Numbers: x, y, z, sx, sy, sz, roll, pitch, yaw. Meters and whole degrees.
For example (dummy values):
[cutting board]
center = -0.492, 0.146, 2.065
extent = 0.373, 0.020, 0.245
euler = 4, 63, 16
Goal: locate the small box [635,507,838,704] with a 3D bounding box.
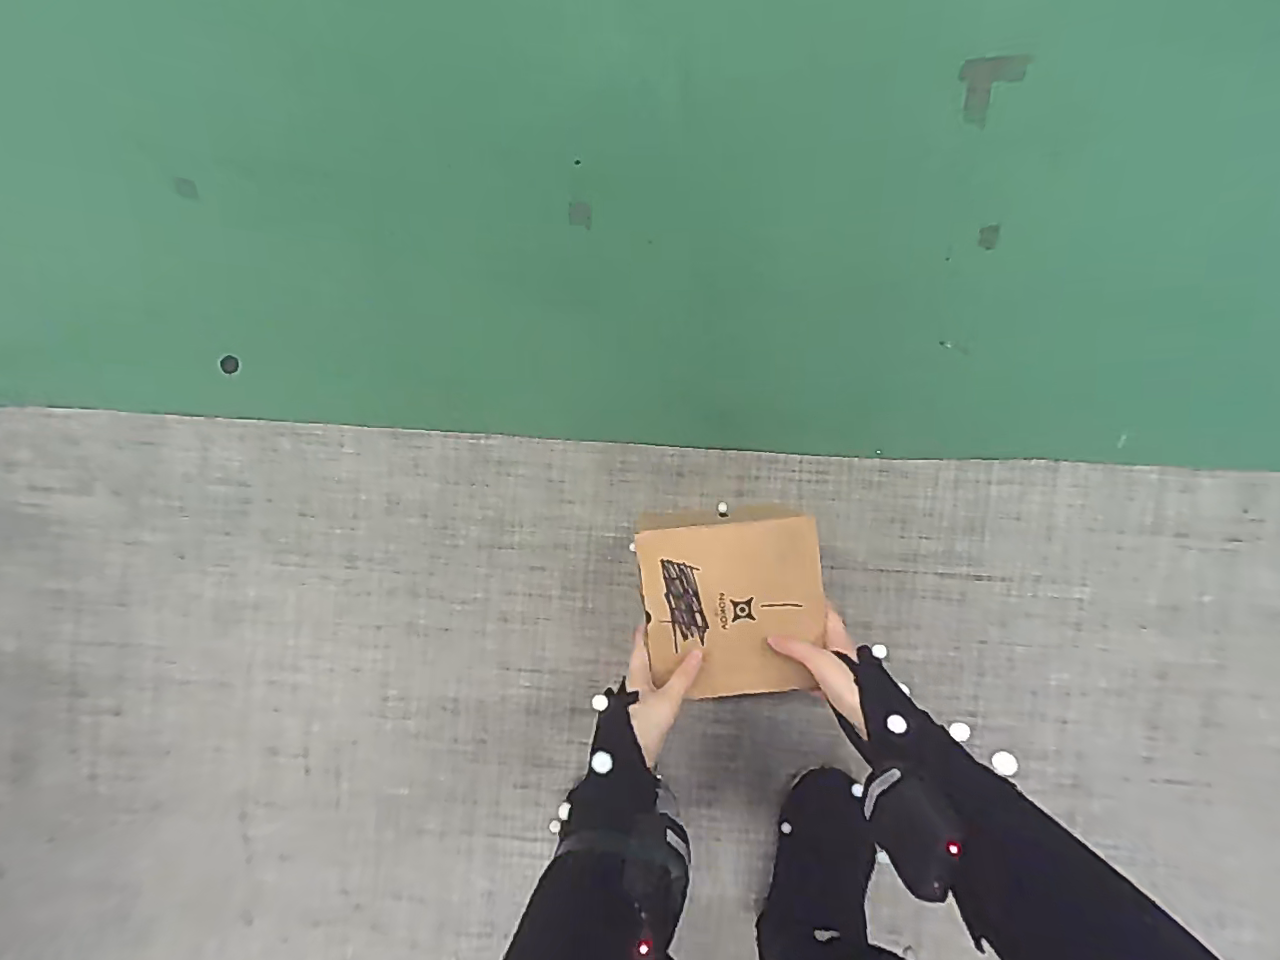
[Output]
[small box]
center = 0.092, 0.121, 0.582
extent = 0.179, 0.176, 0.168
euler = -6, 90, 1
